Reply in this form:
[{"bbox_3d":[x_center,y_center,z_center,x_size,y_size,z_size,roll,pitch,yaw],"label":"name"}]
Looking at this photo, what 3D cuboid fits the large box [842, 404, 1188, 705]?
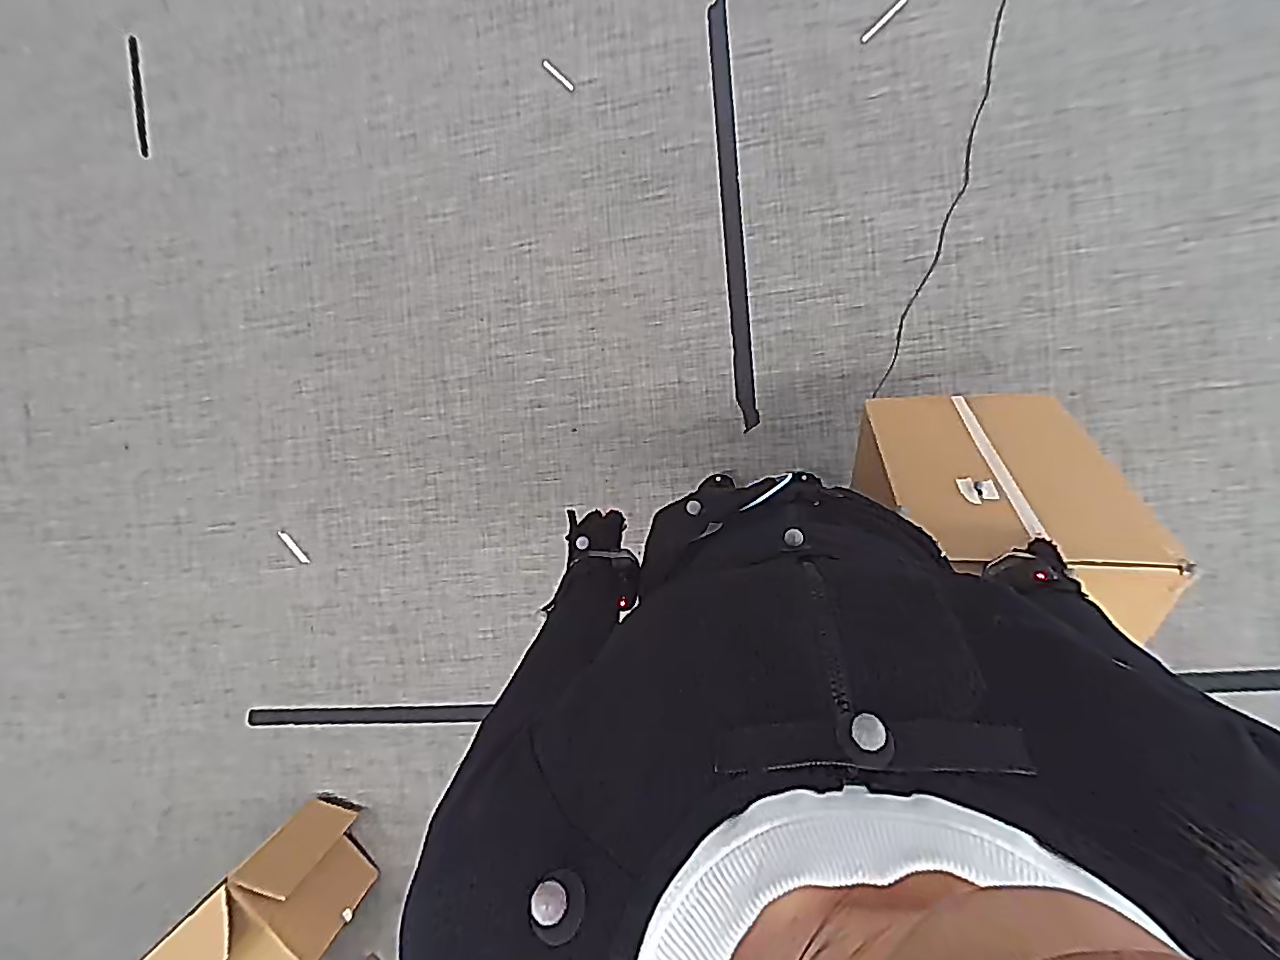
[{"bbox_3d":[0.550,0.107,0.916,0.320,0.408,0.320,-1,129,11],"label":"large box"}]
